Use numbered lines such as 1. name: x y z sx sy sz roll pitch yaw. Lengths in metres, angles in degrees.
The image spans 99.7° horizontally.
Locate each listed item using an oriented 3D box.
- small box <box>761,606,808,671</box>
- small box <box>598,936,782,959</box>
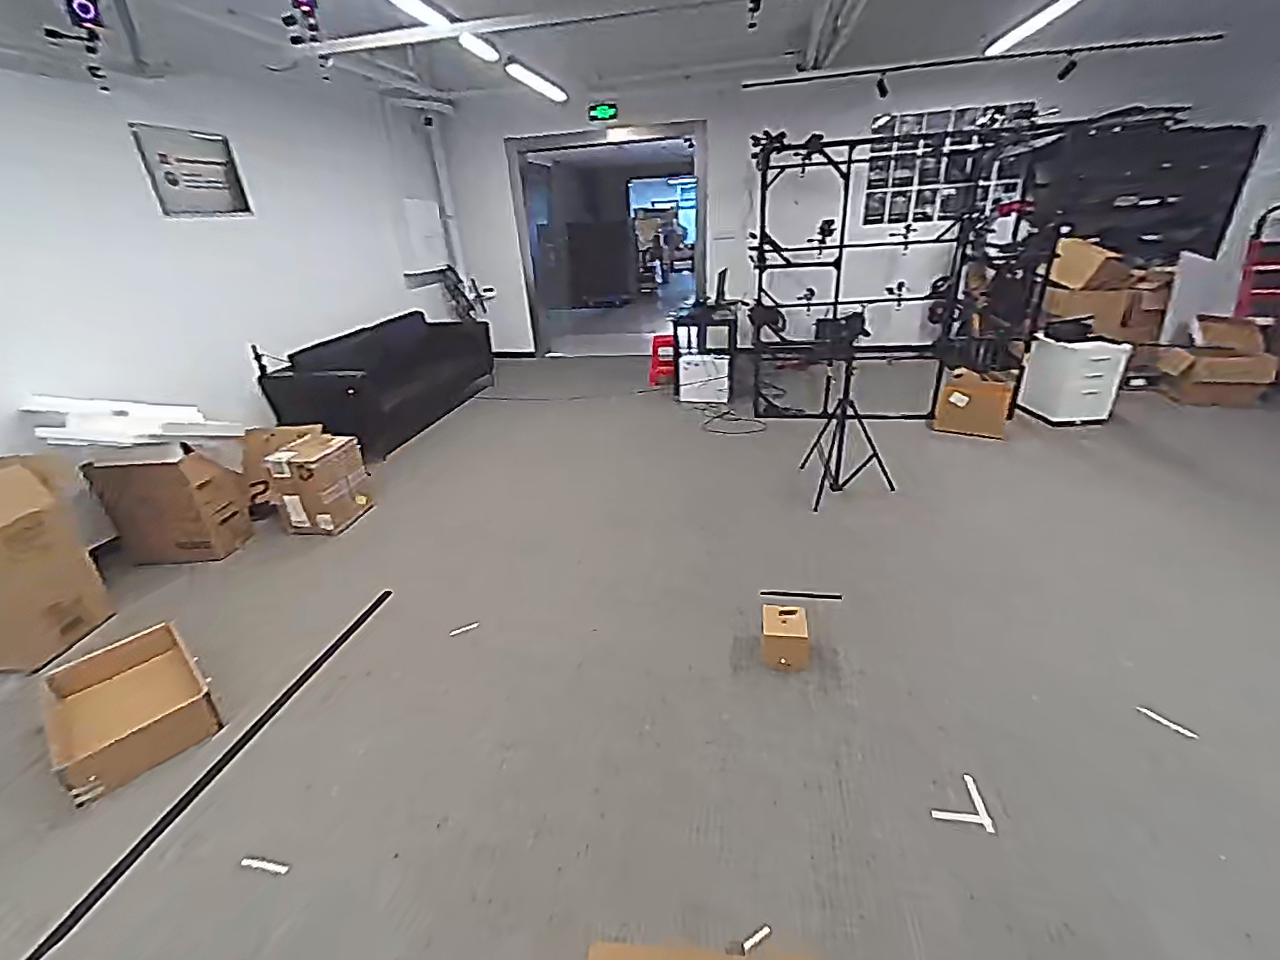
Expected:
1. small box: 0.567 0.624 2.132 0.168 0.176 0.179 1 27 11
2. small box: 0.059 0.442 0.376 0.179 0.176 0.168 -2 44 10
